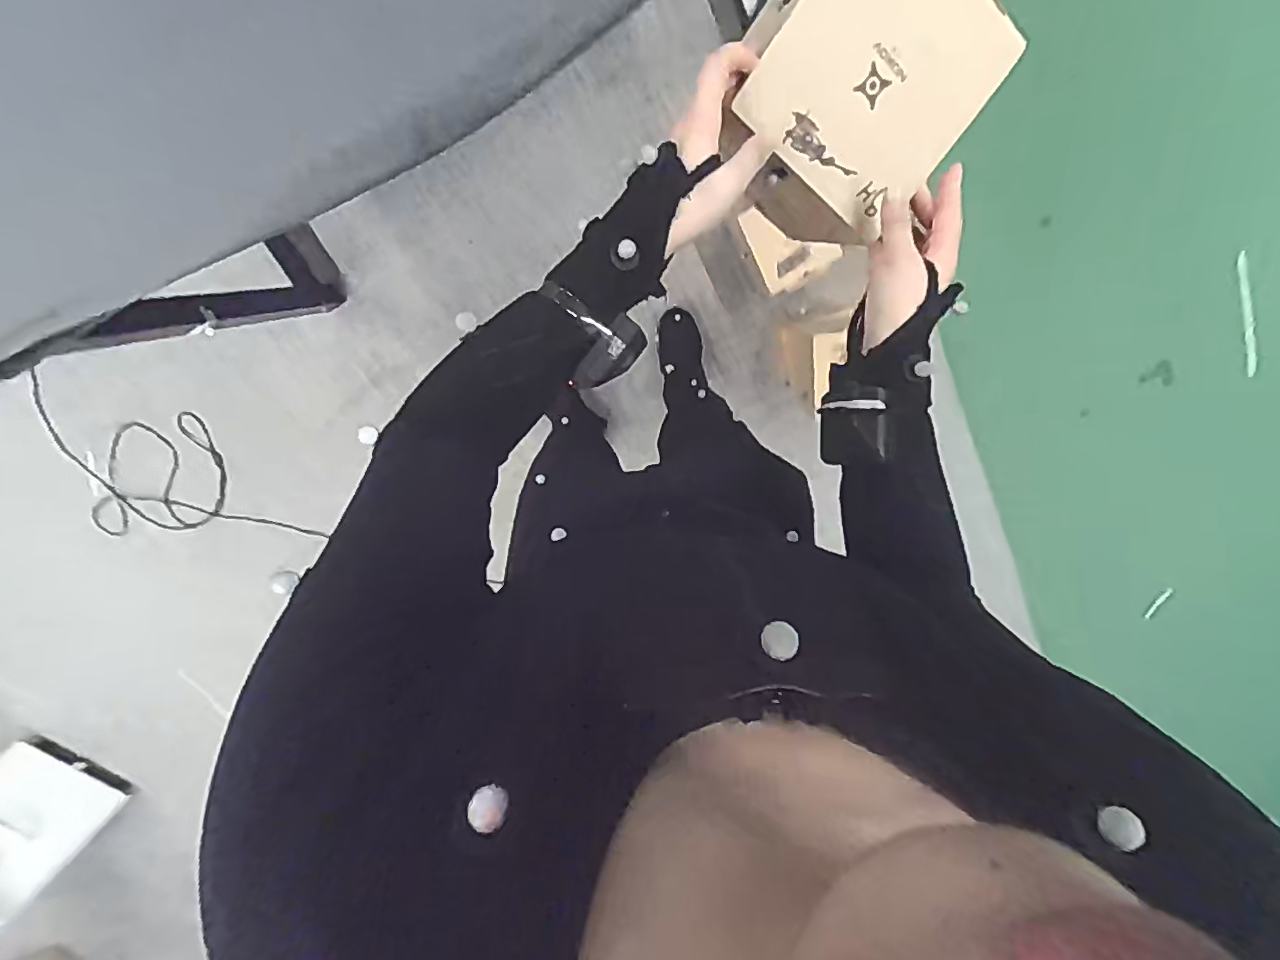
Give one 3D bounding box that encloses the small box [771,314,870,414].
[{"bbox_3d":[0.418,-0.277,1.270,0.168,0.176,0.179,-16,110,8],"label":"small box"}]
